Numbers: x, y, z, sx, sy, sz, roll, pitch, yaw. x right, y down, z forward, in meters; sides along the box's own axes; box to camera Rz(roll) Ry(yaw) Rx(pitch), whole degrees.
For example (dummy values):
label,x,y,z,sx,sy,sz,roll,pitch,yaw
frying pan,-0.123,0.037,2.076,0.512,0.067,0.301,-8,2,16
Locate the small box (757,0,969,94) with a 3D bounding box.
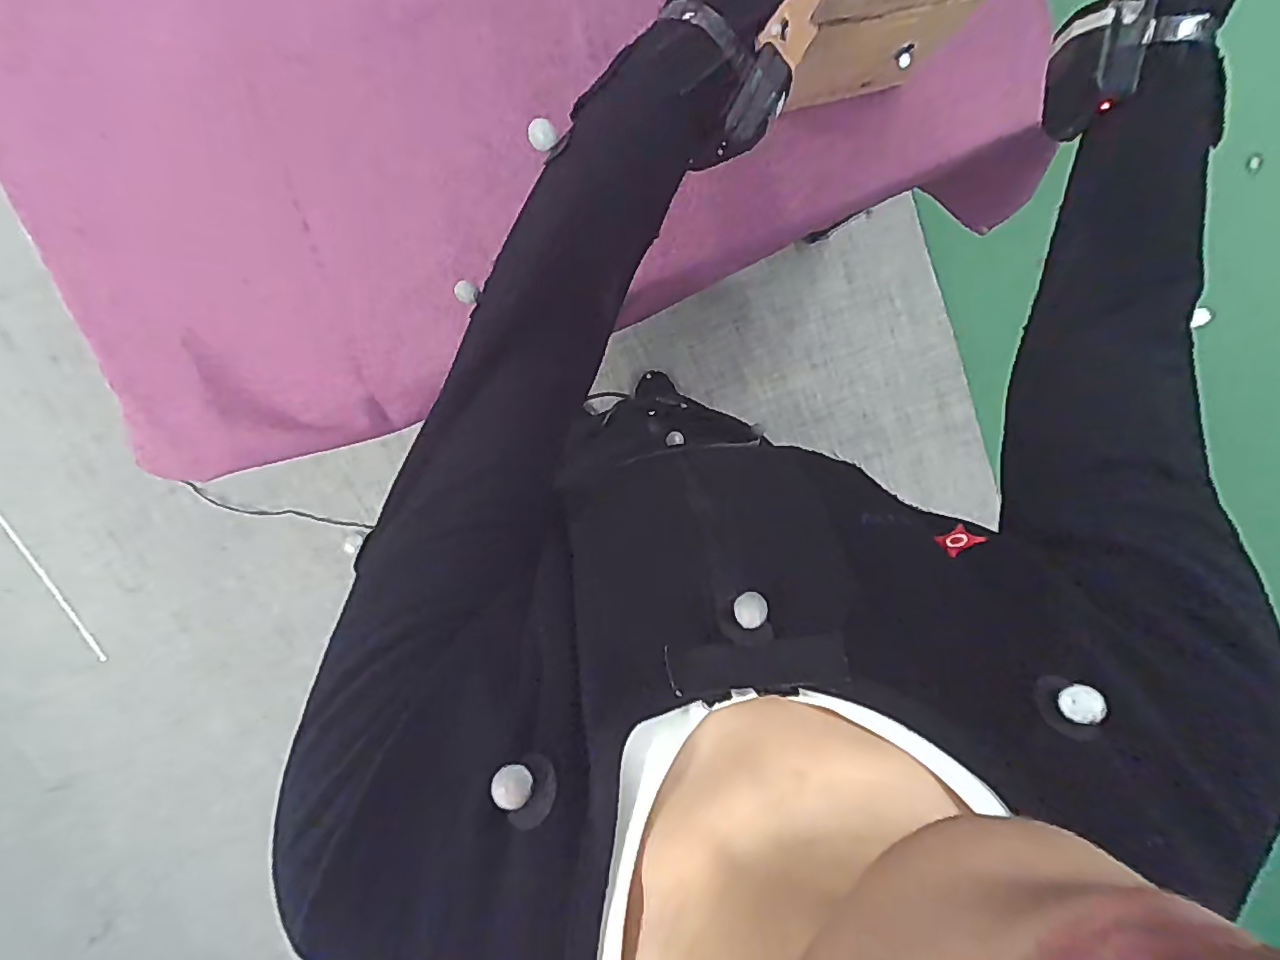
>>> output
label,x,y,z,sx,sy,sz,roll,pitch,yaw
small box,0.219,-0.522,0.539,0.168,0.176,0.179,-12,102,1
